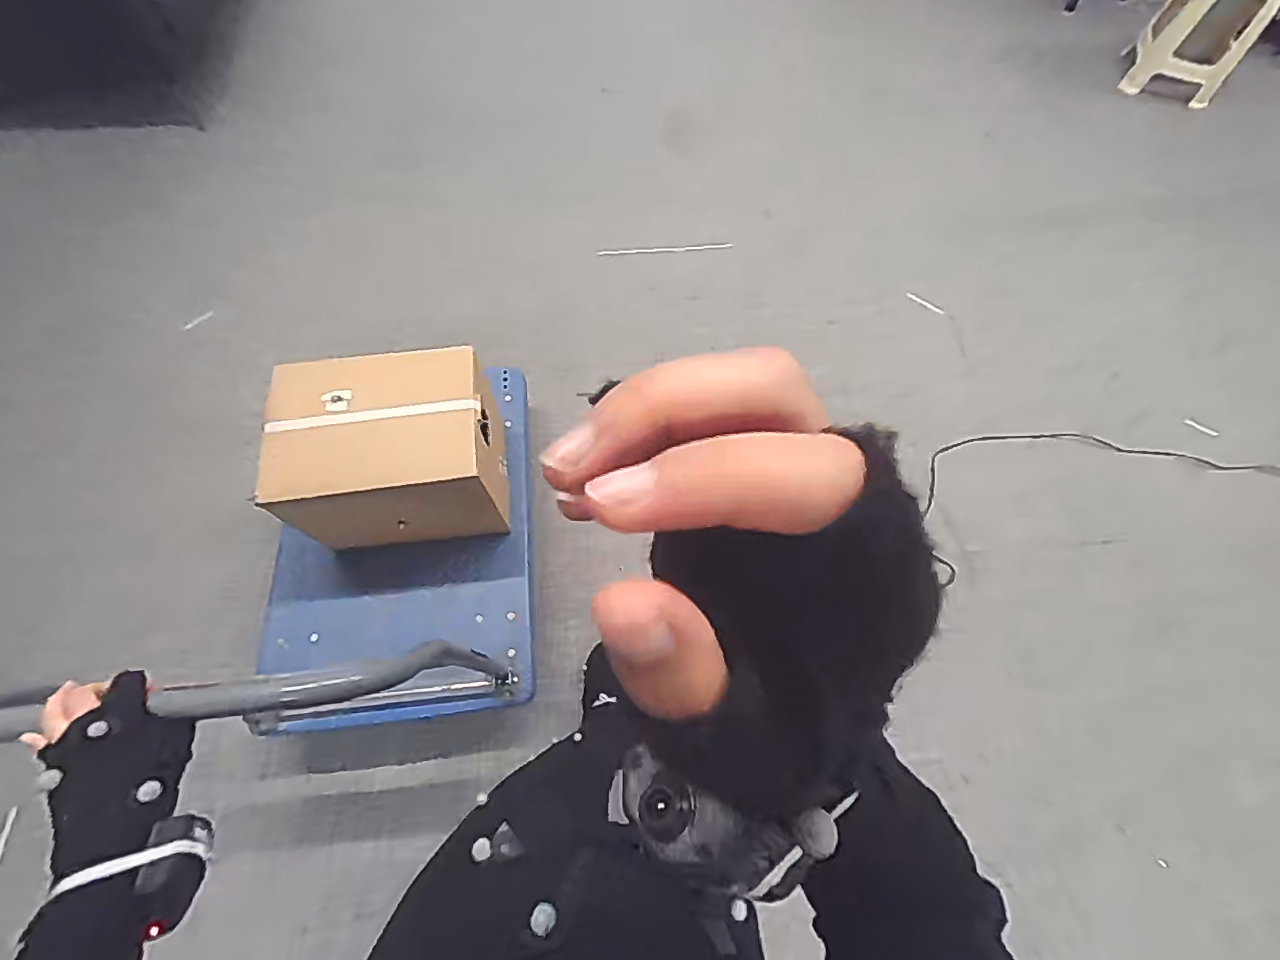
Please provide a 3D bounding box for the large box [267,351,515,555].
[{"bbox_3d":[-0.518,-0.048,1.208,0.408,0.320,0.320,-8,64,-4],"label":"large box"}]
